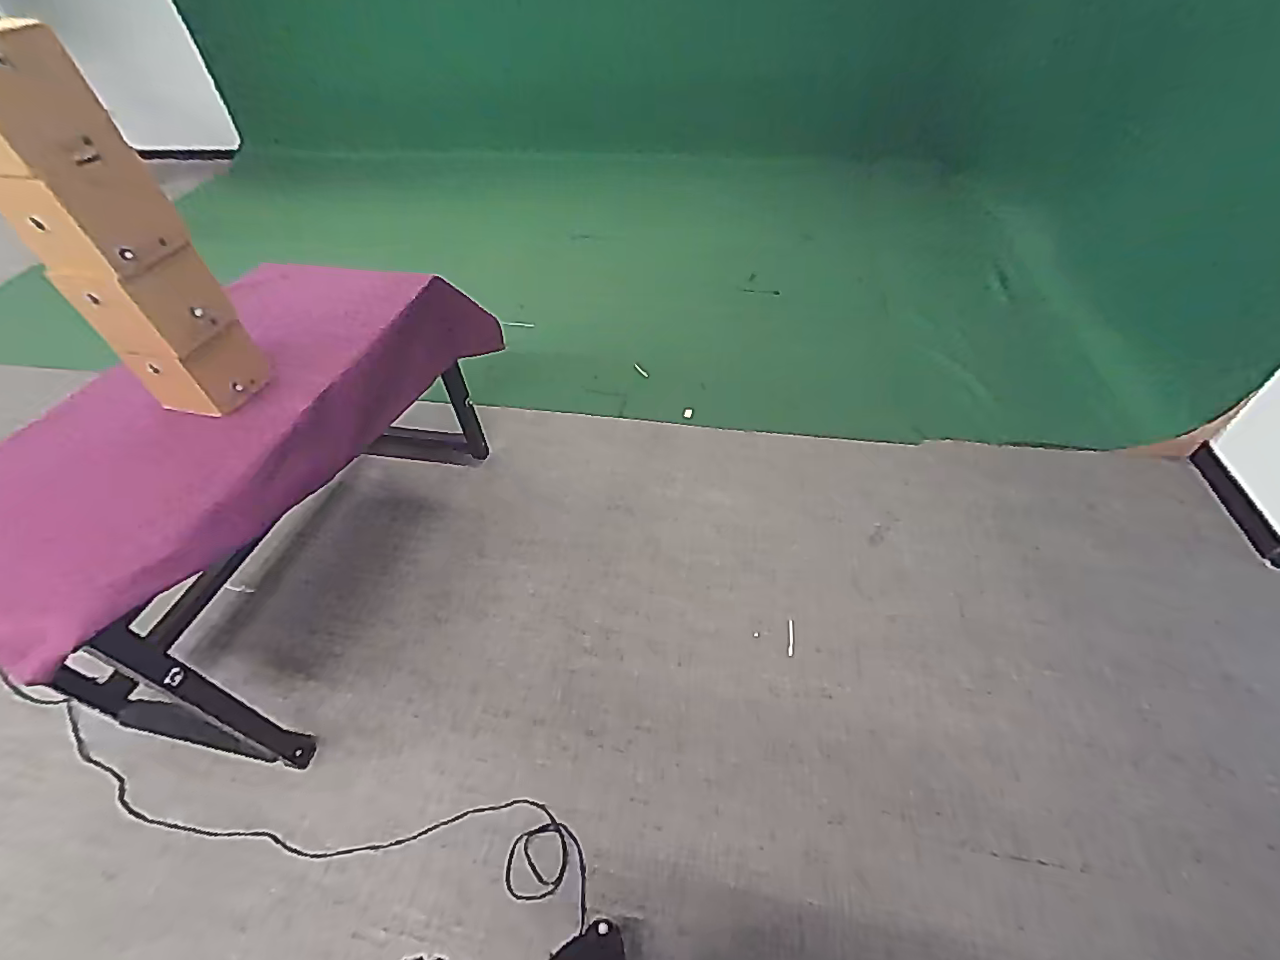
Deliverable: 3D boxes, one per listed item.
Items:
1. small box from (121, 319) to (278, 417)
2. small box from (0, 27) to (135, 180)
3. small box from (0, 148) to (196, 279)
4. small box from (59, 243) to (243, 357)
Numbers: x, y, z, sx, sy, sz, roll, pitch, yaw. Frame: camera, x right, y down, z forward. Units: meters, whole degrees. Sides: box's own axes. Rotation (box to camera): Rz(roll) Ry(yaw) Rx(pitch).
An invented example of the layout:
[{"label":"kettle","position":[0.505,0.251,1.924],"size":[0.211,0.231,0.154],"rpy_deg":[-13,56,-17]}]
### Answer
[{"label":"small box","position":[-0.977,-0.261,1.217],"size":[0.179,0.176,0.168],"rpy_deg":[11,49,13]},{"label":"small box","position":[-0.983,-0.590,0.852],"size":[0.179,0.176,0.168],"rpy_deg":[10,49,14]},{"label":"small box","position":[-0.969,-0.479,0.972],"size":[0.179,0.176,0.168],"rpy_deg":[9,49,13]},{"label":"small box","position":[-0.971,-0.366,1.091],"size":[0.179,0.176,0.168],"rpy_deg":[9,49,12]}]
